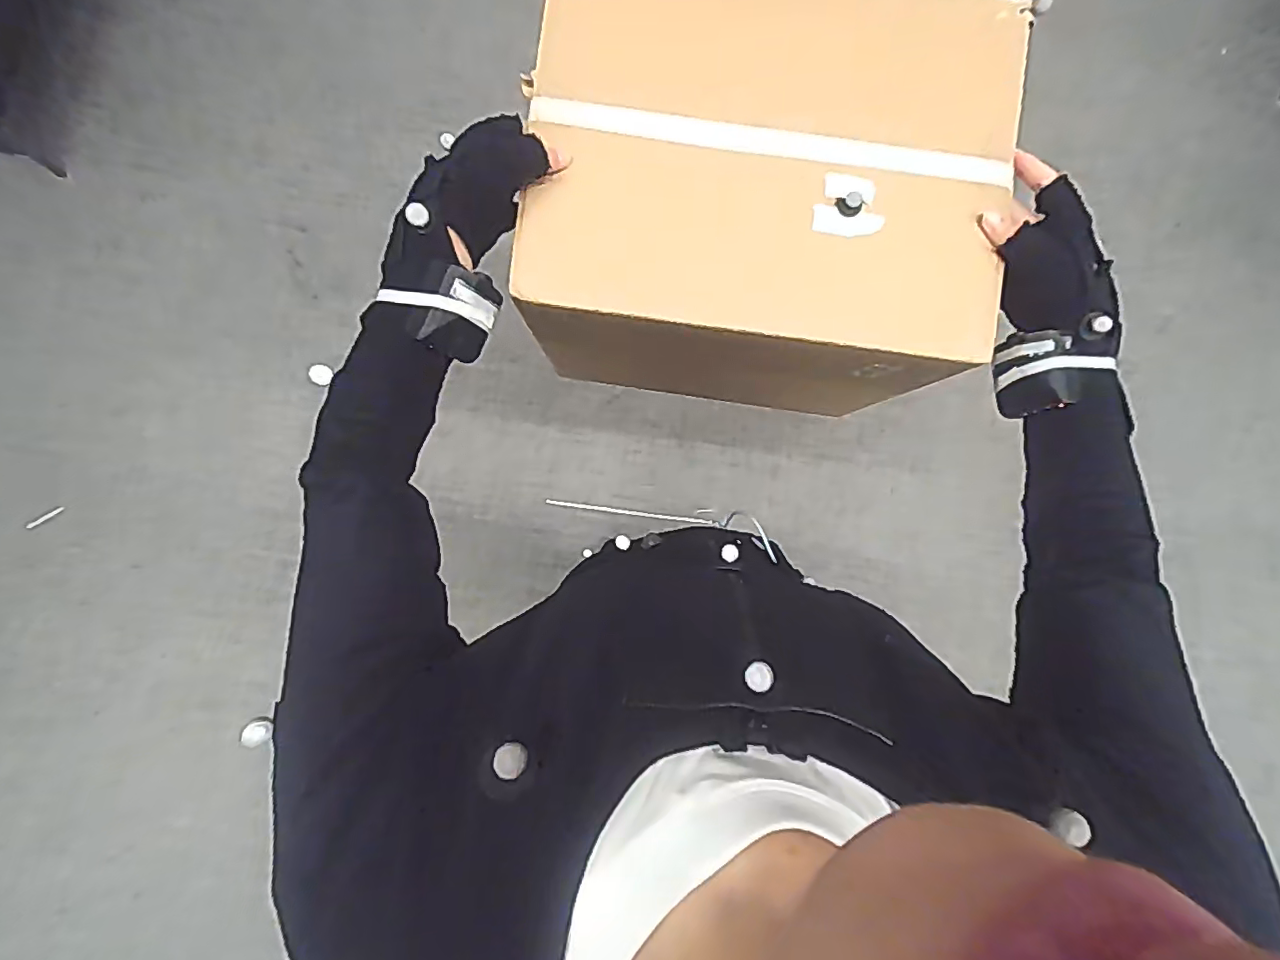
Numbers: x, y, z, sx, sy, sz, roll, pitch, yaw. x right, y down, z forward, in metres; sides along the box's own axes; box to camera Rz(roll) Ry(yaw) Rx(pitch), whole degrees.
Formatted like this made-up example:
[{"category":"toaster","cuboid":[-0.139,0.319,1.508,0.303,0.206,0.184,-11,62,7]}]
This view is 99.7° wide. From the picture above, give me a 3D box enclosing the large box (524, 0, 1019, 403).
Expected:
[{"category":"large box","cuboid":[0.109,-0.281,0.603,0.408,0.320,0.320,7,89,-2]}]
